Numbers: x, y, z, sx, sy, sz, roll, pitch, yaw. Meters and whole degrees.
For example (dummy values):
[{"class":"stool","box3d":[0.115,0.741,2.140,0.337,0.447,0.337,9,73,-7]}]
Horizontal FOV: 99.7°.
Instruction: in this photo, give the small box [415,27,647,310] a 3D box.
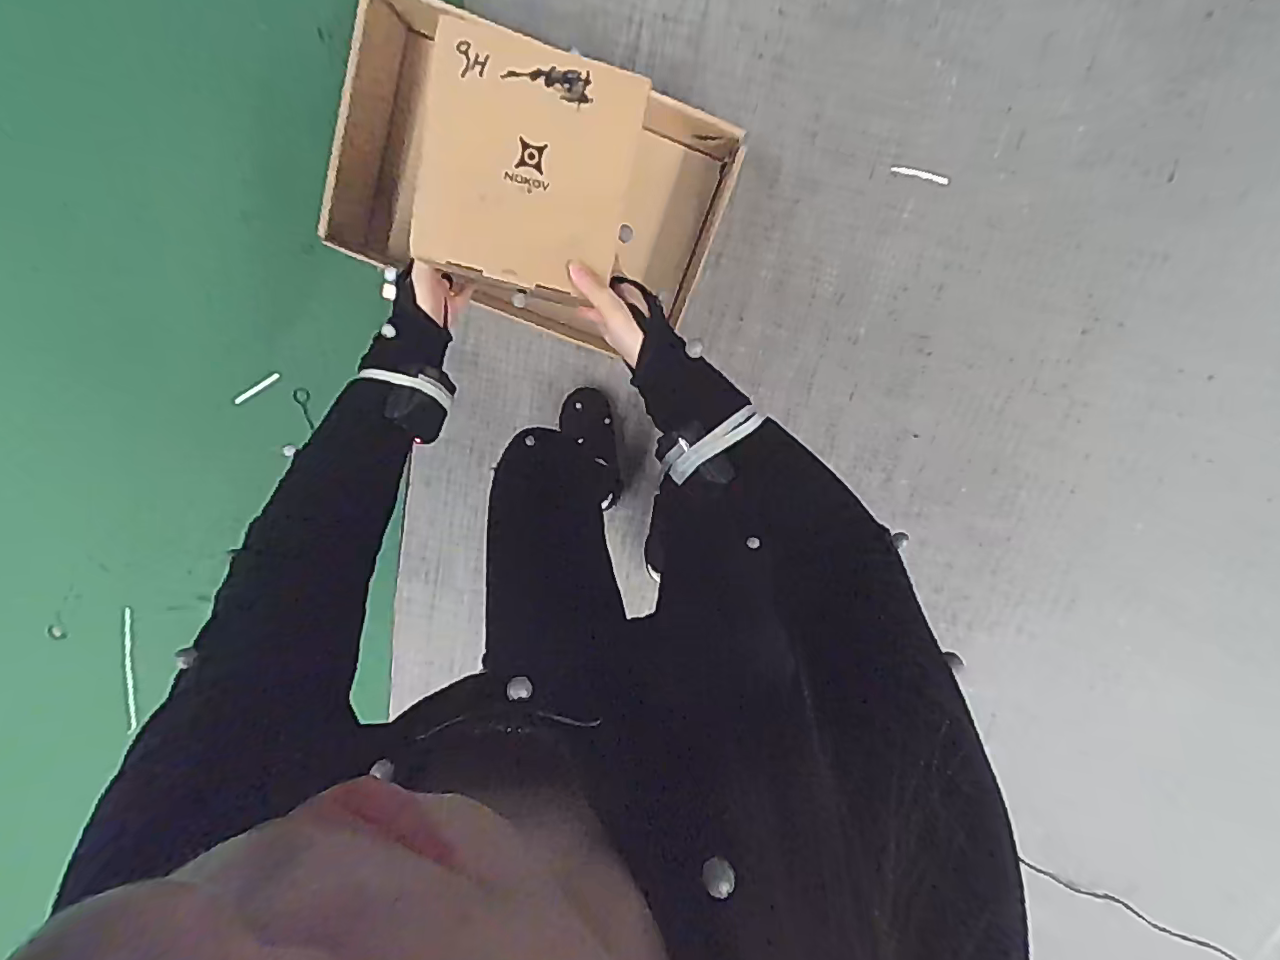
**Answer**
[{"class":"small box","box3d":[-0.097,-0.271,0.522,0.168,0.176,0.179,12,103,-8]}]
